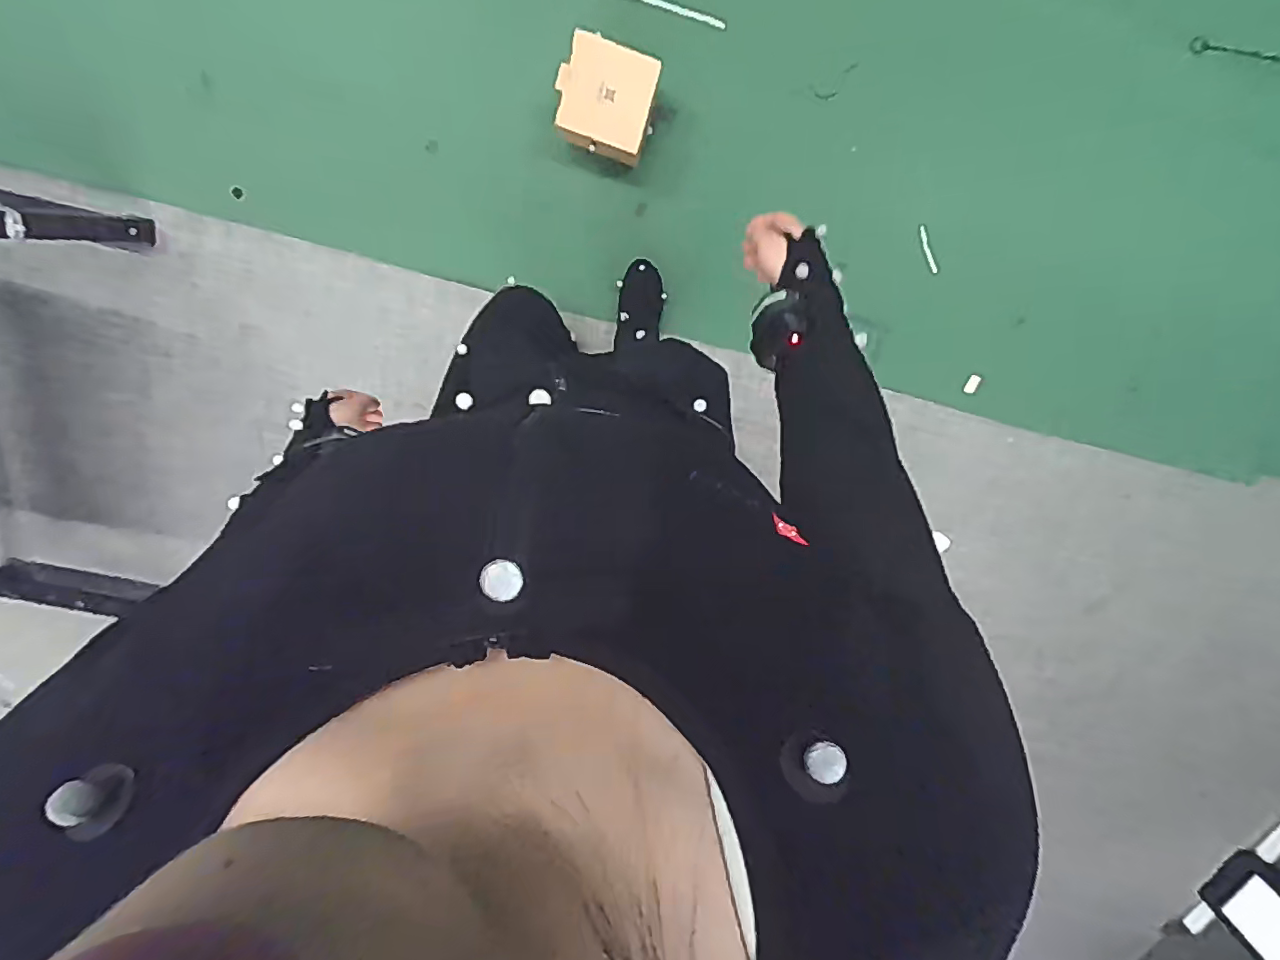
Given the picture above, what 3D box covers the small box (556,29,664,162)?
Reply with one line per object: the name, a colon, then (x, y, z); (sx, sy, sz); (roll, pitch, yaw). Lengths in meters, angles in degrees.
small box: (-0.059, -0.783, 1.125); (0.179, 0.176, 0.168); (17, 112, -6)
